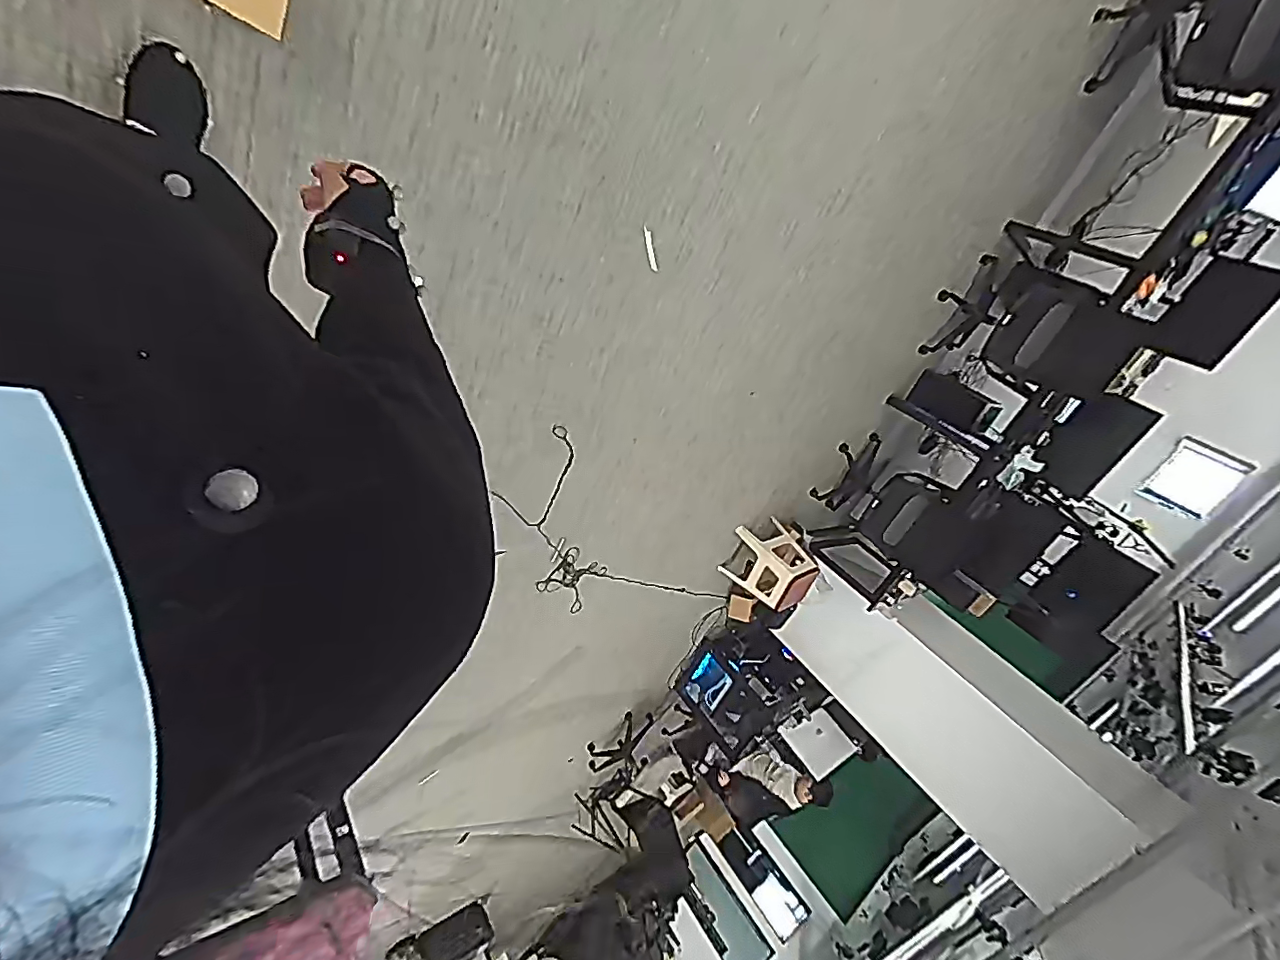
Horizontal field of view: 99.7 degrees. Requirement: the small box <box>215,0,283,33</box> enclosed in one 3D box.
[{"bbox_3d":[-0.663,-0.861,0.853,0.168,0.176,0.179,6,121,-48],"label":"small box"}]
